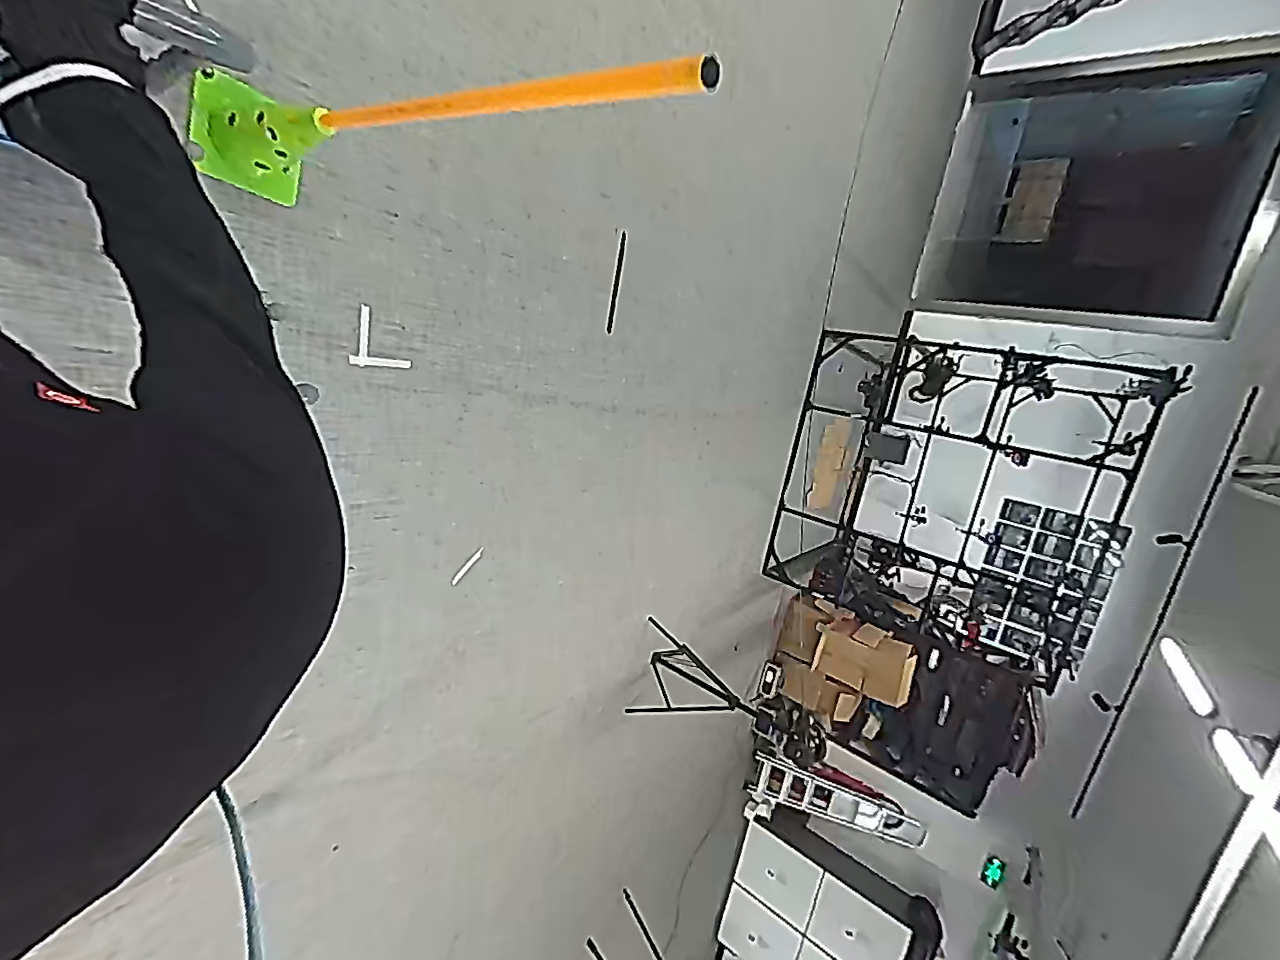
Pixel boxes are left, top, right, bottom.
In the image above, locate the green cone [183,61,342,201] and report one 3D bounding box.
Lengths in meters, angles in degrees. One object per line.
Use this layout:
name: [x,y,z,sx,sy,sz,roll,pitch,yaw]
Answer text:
green cone: [-0.695,-0.679,1.049,0.202,0.368,0.200,1,105,-57]
